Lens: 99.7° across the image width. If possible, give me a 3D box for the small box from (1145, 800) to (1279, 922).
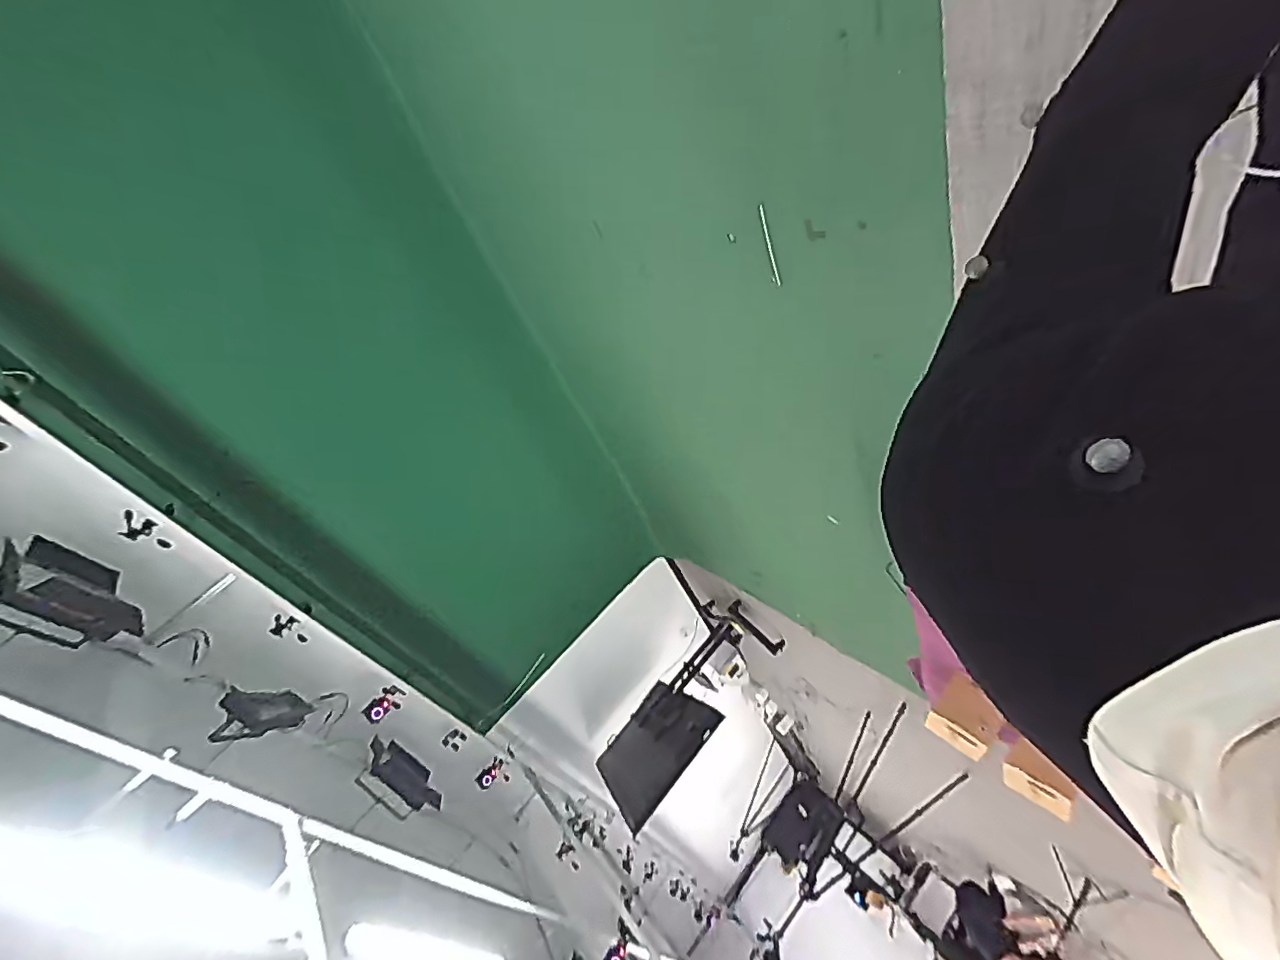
[{"bbox_3d":[1.383,0.905,1.298,0.179,0.176,0.168,30,157,40],"label":"small box"}]
